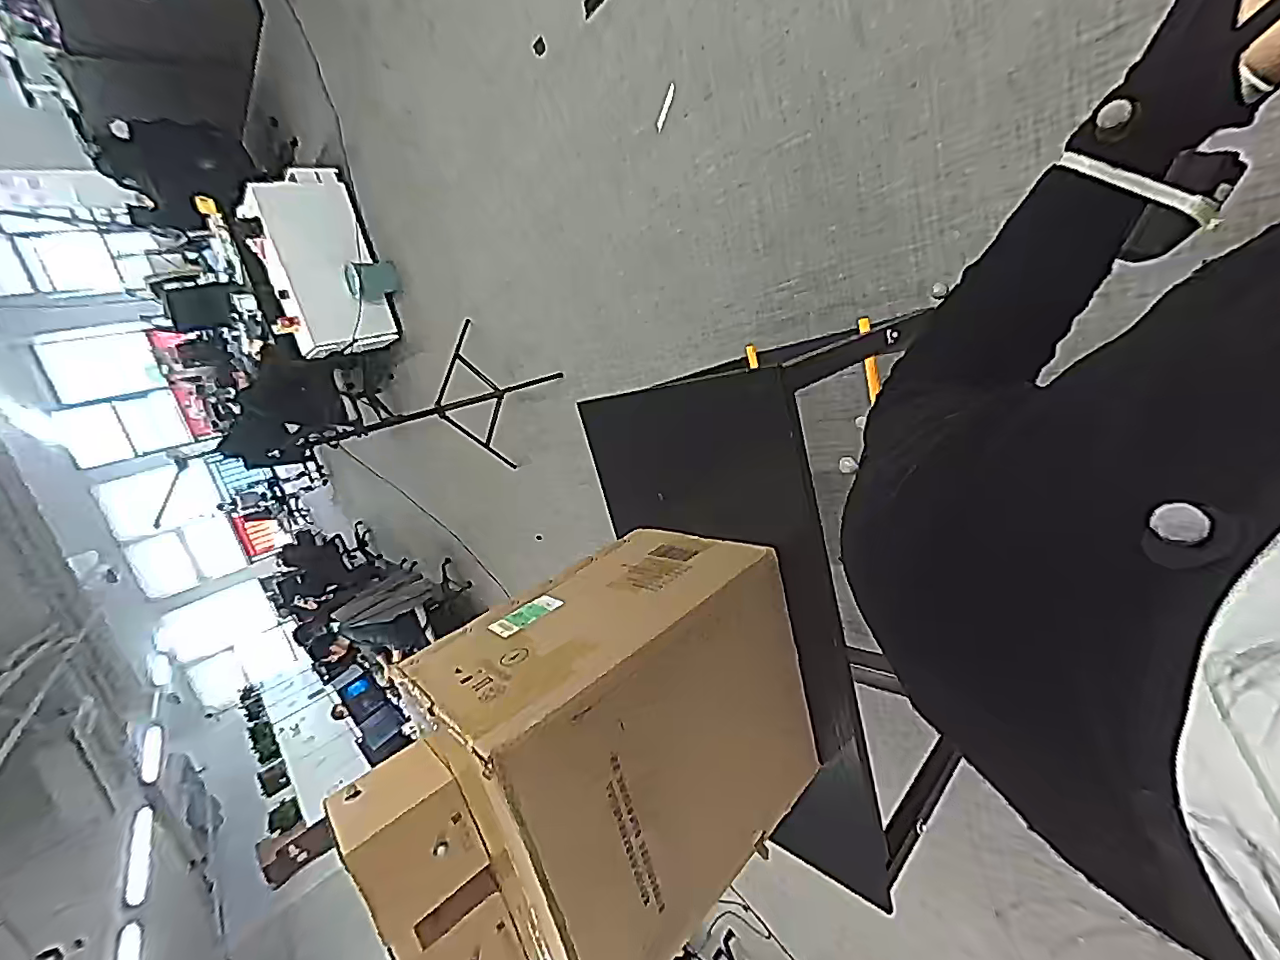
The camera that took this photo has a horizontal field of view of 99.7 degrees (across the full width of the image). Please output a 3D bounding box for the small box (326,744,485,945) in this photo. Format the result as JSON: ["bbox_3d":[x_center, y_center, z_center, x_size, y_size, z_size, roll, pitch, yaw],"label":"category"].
[{"bbox_3d":[-0.373,0.561,0.866,0.179,0.176,0.168,-2,109,52],"label":"small box"}]

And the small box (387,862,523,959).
[{"bbox_3d":[-0.319,0.775,0.923,0.179,0.176,0.168,-5,105,52],"label":"small box"}]
